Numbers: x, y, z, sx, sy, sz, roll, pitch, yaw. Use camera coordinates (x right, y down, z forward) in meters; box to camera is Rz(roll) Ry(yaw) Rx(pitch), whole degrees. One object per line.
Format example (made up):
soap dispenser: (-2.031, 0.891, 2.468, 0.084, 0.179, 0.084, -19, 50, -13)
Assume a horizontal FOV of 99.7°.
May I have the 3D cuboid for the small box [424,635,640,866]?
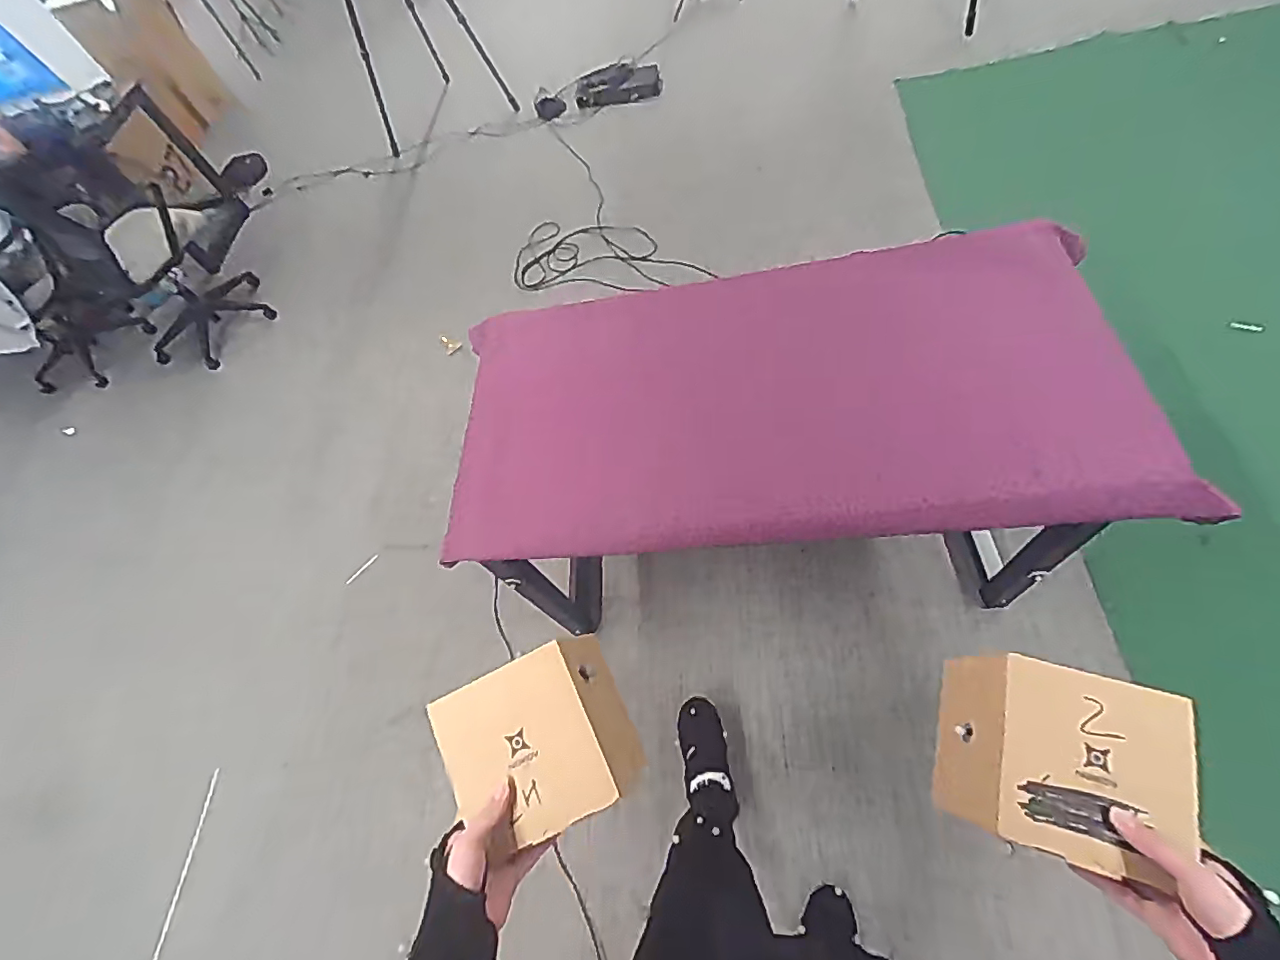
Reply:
small box: (-0.116, 0.297, 0.635, 0.168, 0.176, 0.179, -27, 73, 3)
